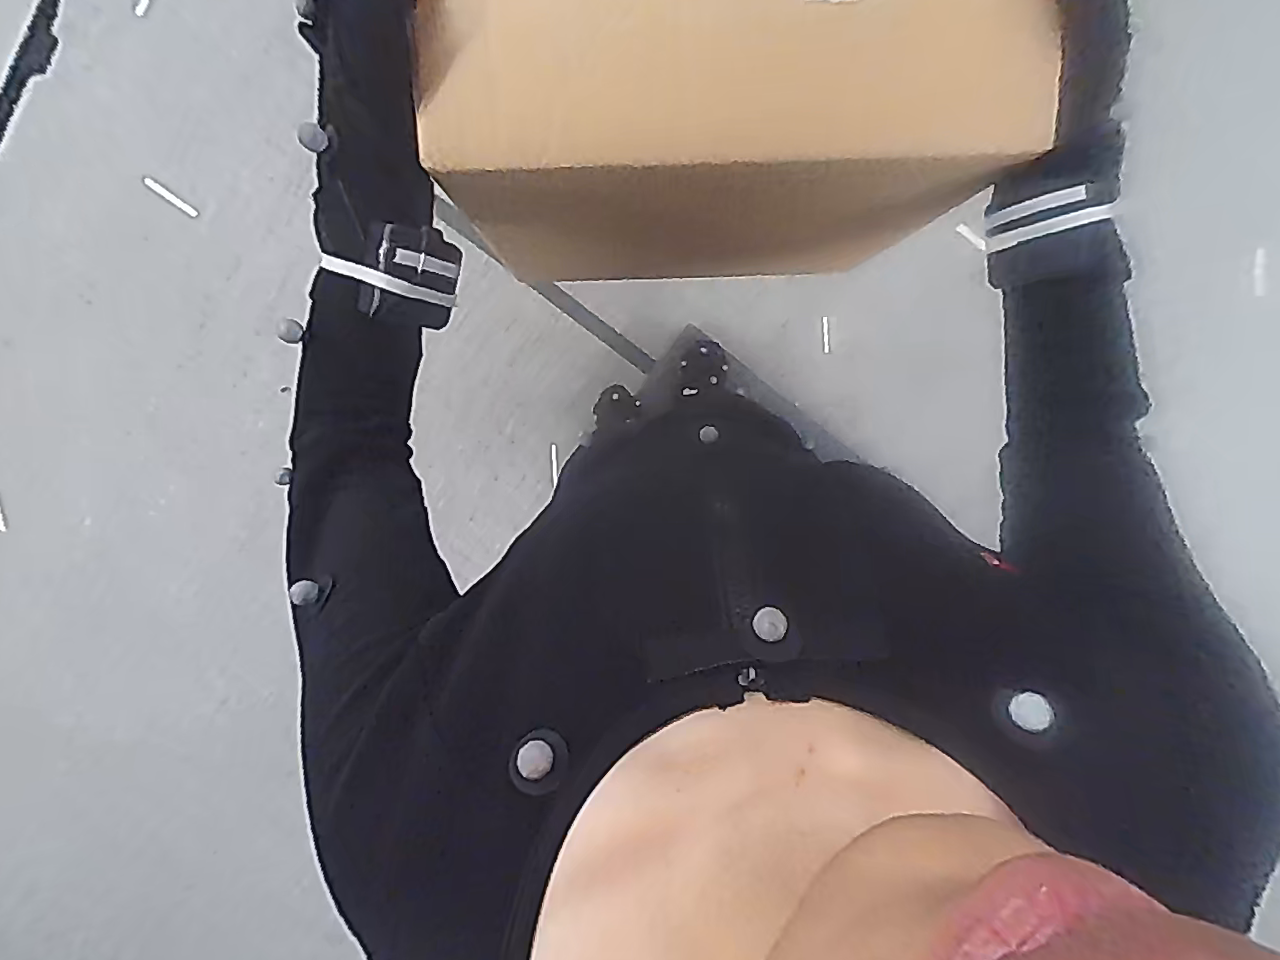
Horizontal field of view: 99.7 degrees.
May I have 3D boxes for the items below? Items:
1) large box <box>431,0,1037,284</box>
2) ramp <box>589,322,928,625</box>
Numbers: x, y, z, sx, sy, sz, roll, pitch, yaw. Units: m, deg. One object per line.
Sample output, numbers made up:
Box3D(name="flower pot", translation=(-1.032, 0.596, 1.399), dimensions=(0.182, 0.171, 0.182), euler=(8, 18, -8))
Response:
Box3D(name="large box", translation=(0.054, -0.381, 0.492), dimensions=(0.408, 0.320, 0.320), euler=(-2, 97, -2))
Box3D(name="ramp", translation=(0.389, 0.027, 1.603), dimensions=(0.991, 0.206, 0.509), euler=(32, 97, -7))
